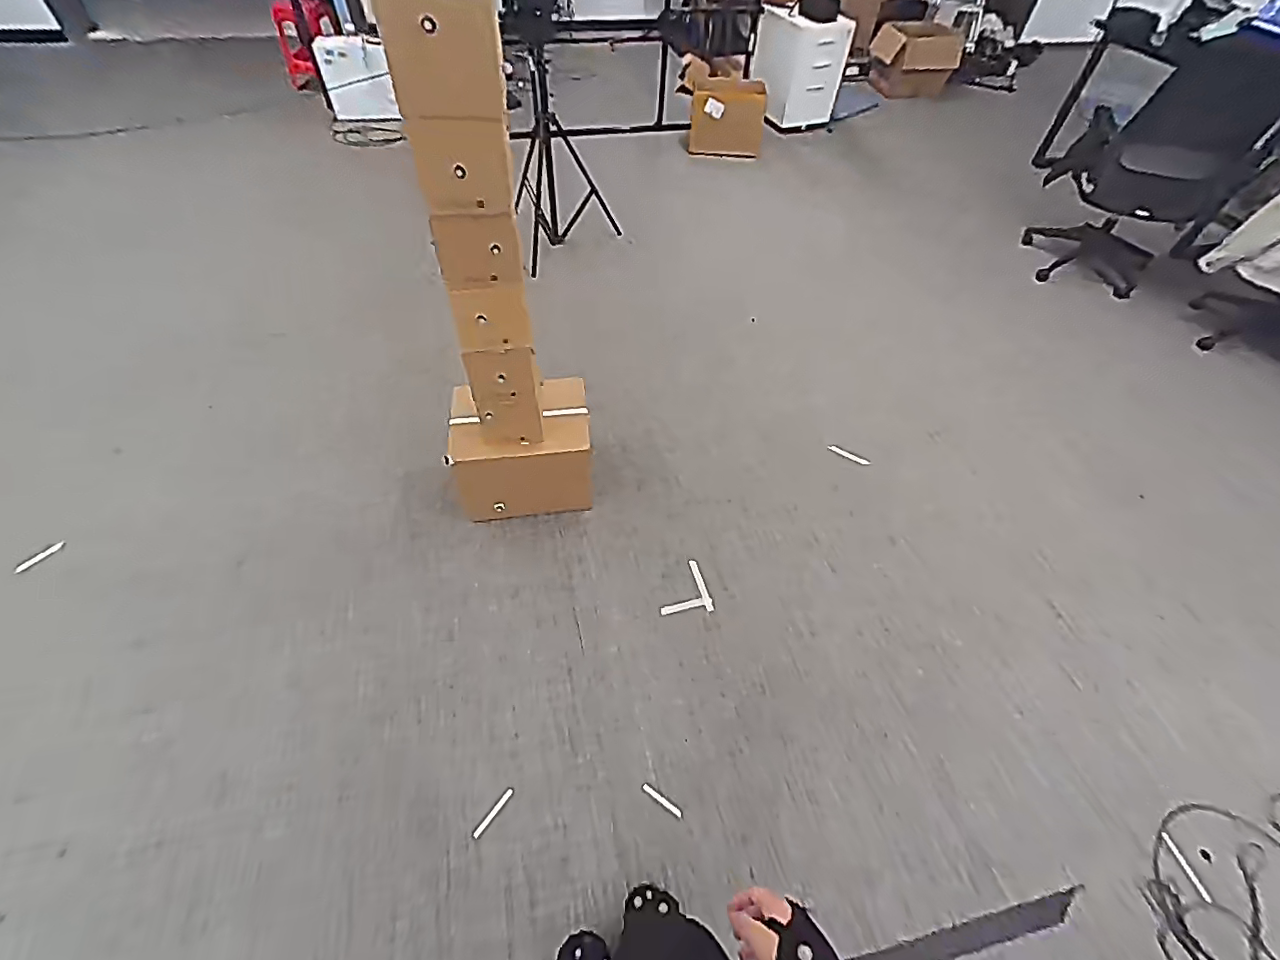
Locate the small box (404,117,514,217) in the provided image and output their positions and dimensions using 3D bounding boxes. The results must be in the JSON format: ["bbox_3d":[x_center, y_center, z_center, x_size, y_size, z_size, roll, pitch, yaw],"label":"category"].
[{"bbox_3d":[-0.334,-0.620,1.032,0.168,0.176,0.179,-5,51,-8],"label":"small box"}]

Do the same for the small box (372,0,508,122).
[{"bbox_3d":[-0.321,-0.718,0.901,0.179,0.176,0.168,-5,52,-9],"label":"small box"}]

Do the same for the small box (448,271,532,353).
[{"bbox_3d":[-0.353,-0.418,1.289,0.168,0.176,0.179,-7,52,-8],"label":"small box"}]

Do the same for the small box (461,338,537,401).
[{"bbox_3d":[-0.363,-0.320,1.418,0.168,0.176,0.179,-5,53,-7],"label":"small box"}]

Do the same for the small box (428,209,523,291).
[{"bbox_3d":[-0.347,-0.522,1.164,0.168,0.176,0.179,-7,51,-10],"label":"small box"}]
